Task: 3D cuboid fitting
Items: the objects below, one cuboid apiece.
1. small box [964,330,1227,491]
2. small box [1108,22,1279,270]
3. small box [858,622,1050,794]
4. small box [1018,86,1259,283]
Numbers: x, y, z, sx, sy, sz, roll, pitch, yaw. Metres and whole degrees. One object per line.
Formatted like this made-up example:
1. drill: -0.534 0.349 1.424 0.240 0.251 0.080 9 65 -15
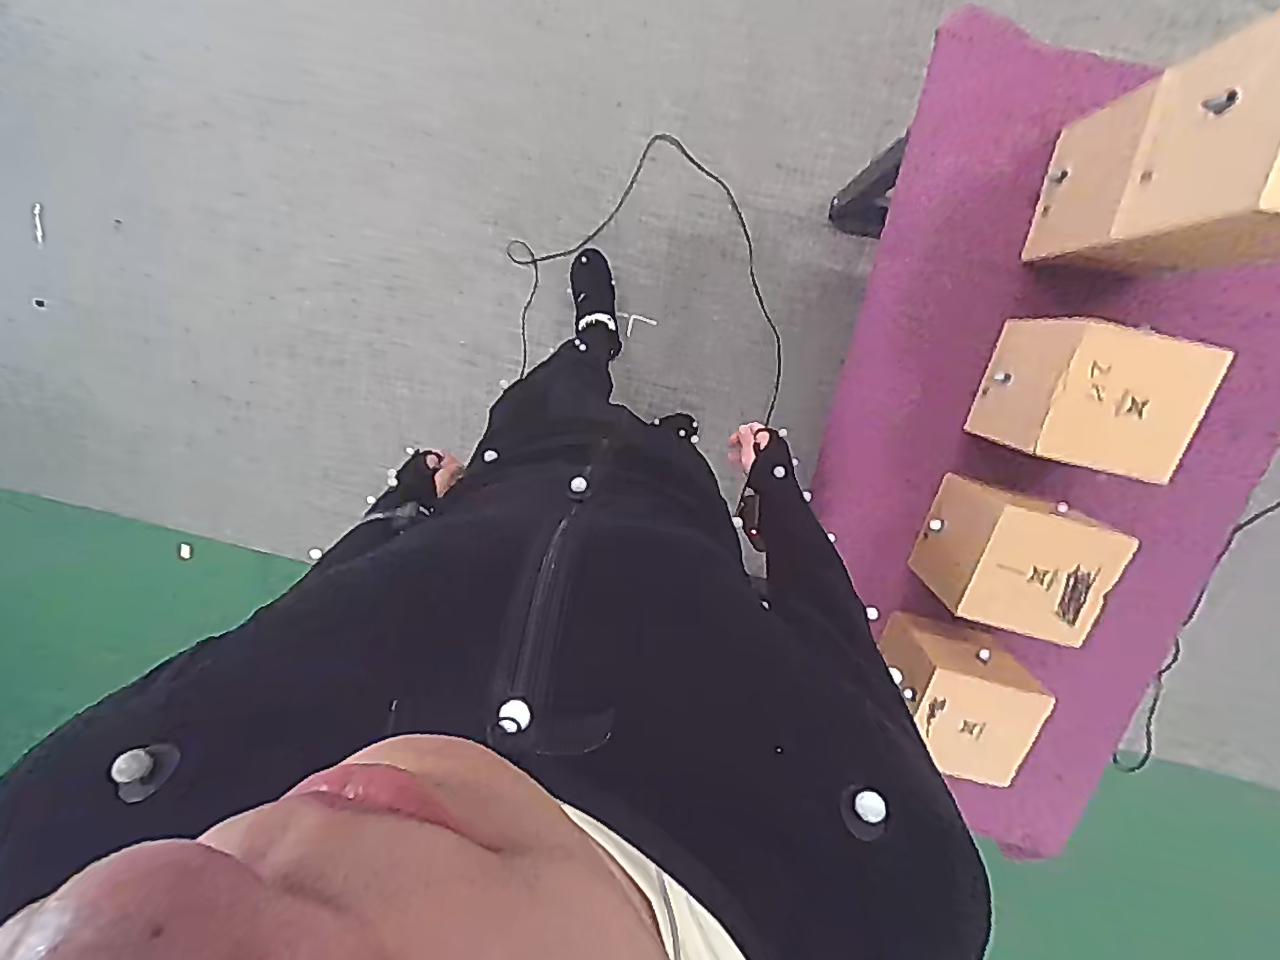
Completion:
1. small box: 0.585 -0.102 0.725 0.179 0.176 0.168 14 105 1
2. small box: 0.602 -0.299 0.502 0.179 0.176 0.168 8 105 1
3. small box: 0.478 0.348 0.854 0.179 0.176 0.168 15 105 0
4. small box: 0.617 -0.341 0.658 0.179 0.176 0.168 9 105 2
